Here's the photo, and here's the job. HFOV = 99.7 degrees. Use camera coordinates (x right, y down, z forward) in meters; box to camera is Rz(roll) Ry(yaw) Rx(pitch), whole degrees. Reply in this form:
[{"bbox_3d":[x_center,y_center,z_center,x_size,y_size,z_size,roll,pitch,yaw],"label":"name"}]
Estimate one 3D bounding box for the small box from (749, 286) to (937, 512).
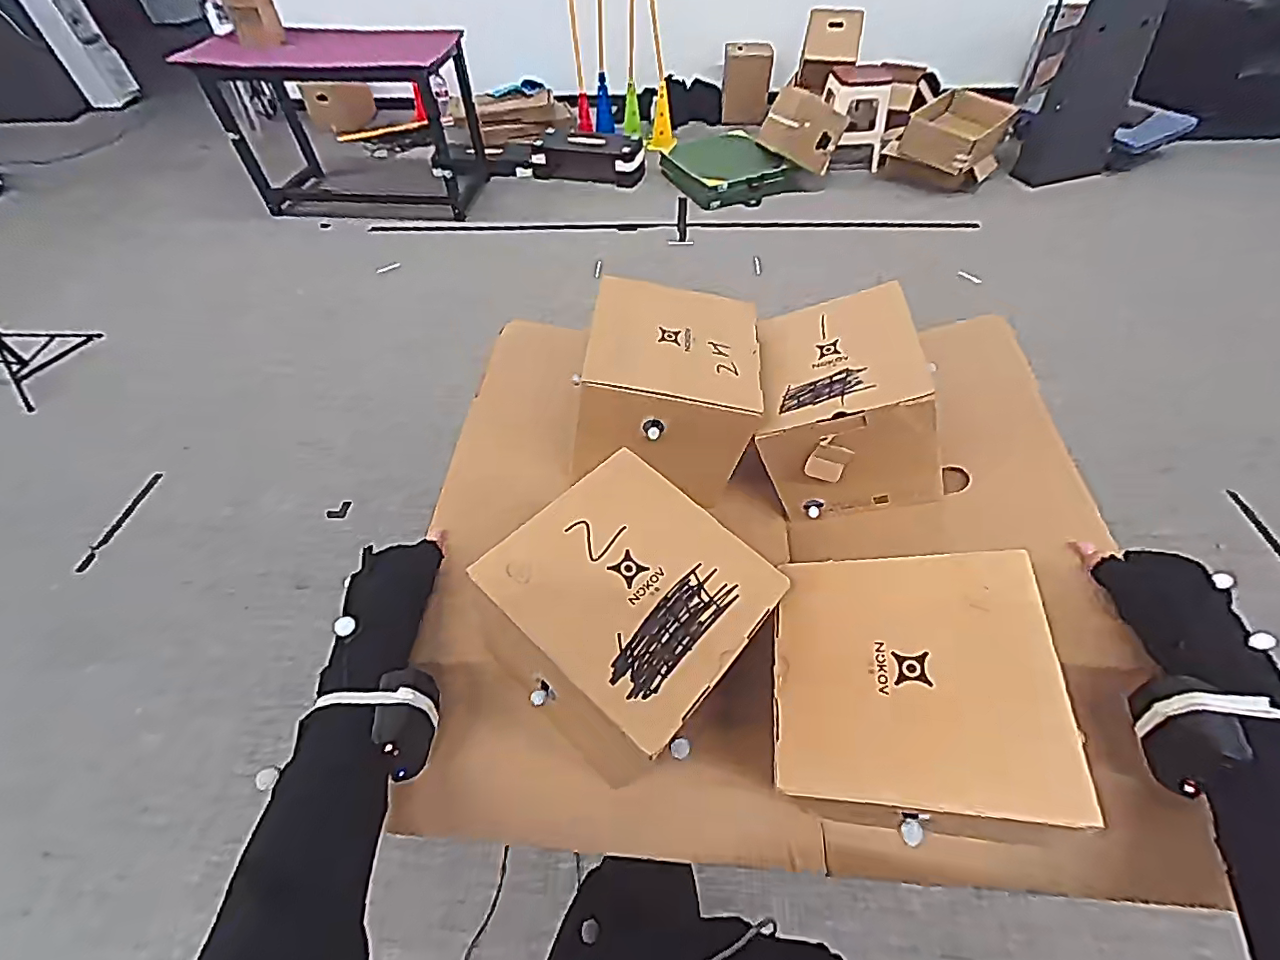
[{"bbox_3d":[0.228,-0.078,0.614,0.168,0.176,0.179,-12,49,23],"label":"small box"}]
